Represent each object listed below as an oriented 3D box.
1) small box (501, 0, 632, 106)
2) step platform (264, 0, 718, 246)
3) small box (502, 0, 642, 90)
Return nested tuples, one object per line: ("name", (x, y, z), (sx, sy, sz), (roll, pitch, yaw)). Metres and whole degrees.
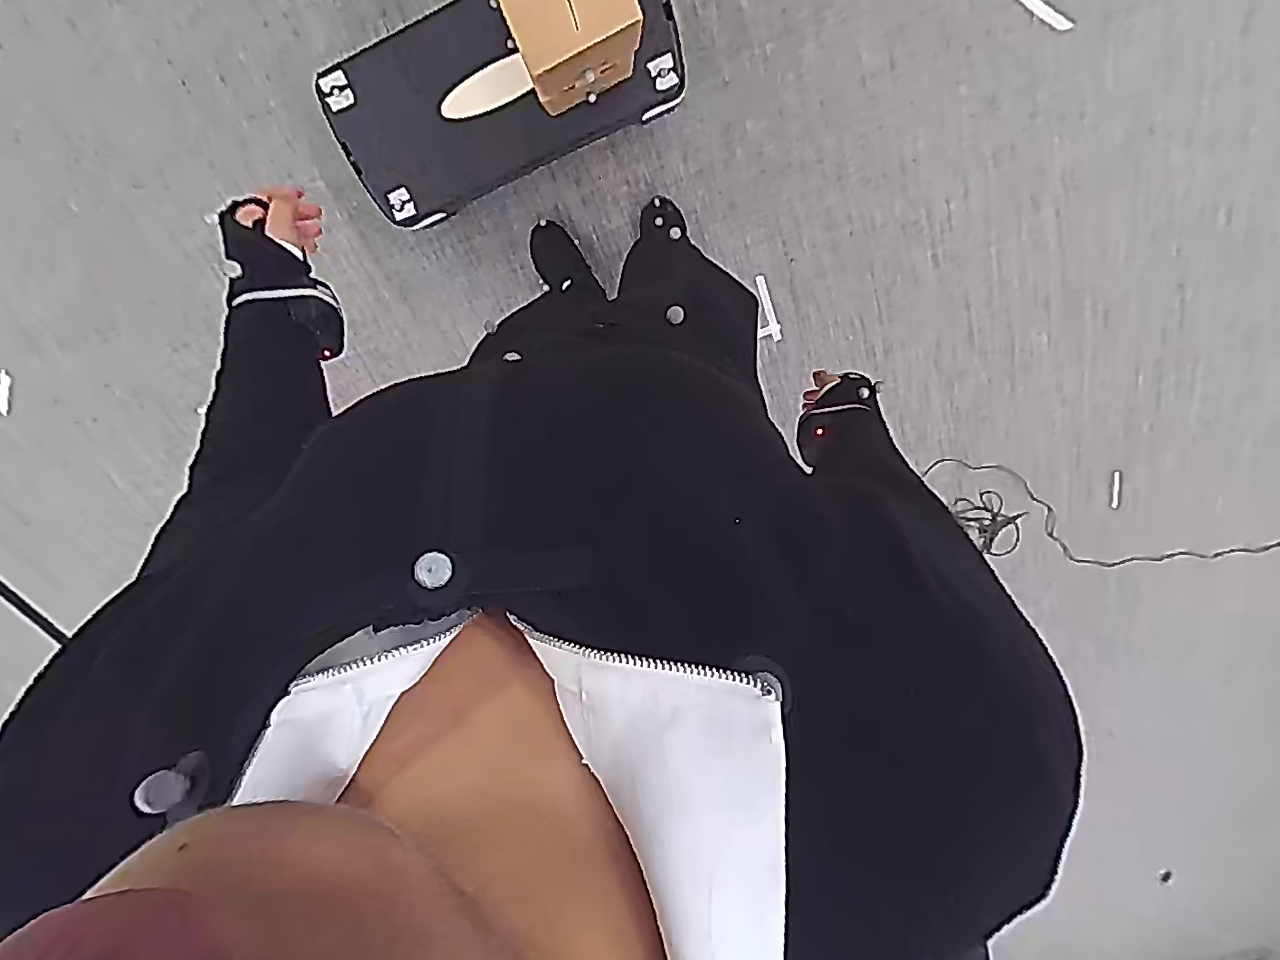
("small box", (-0.123, -0.754, 0.898), (0.168, 0.176, 0.179), (-21, 117, 9))
("step platform", (-0.229, -0.661, 0.901), (0.684, 0.204, 0.286), (-21, 116, 7))
("small box", (-0.108, -0.683, 0.750), (0.168, 0.176, 0.179), (-22, 117, 9))
